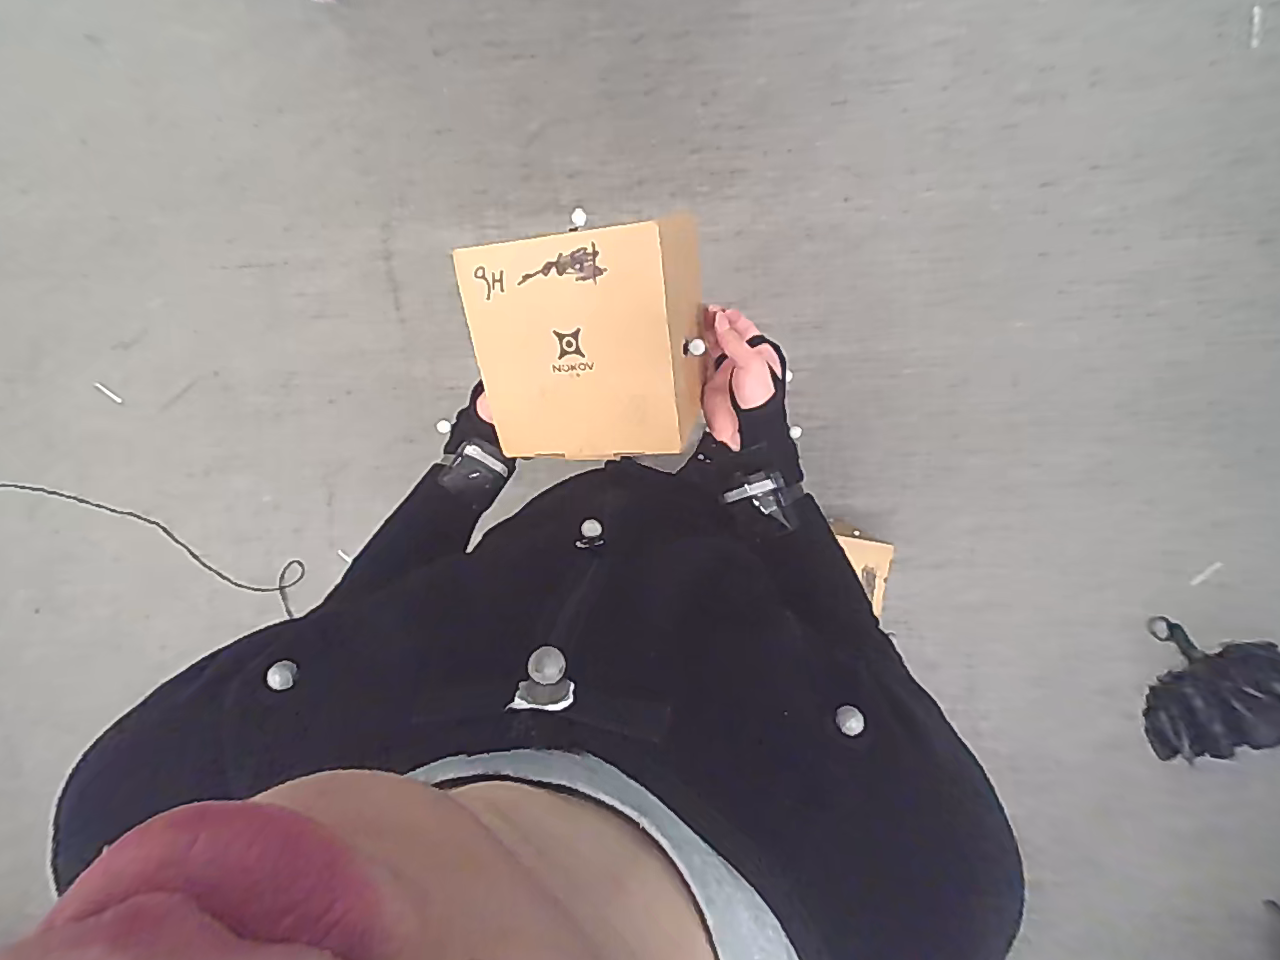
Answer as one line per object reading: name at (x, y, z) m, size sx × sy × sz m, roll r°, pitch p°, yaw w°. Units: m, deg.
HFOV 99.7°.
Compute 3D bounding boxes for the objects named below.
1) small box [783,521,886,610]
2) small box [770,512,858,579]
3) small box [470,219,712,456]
small box at (0.468, 0.202, 1.327) m, size 0.179 × 0.176 × 0.168 m, roll 10°, pitch 94°, yaw 1°
small box at (0.473, 0.187, 1.491) m, size 0.179 × 0.176 × 0.168 m, roll 9°, pitch 94°, yaw 2°
small box at (-0.026, -0.136, 0.507) m, size 0.168 × 0.176 × 0.179 m, roll 0°, pitch 117°, yaw 15°
